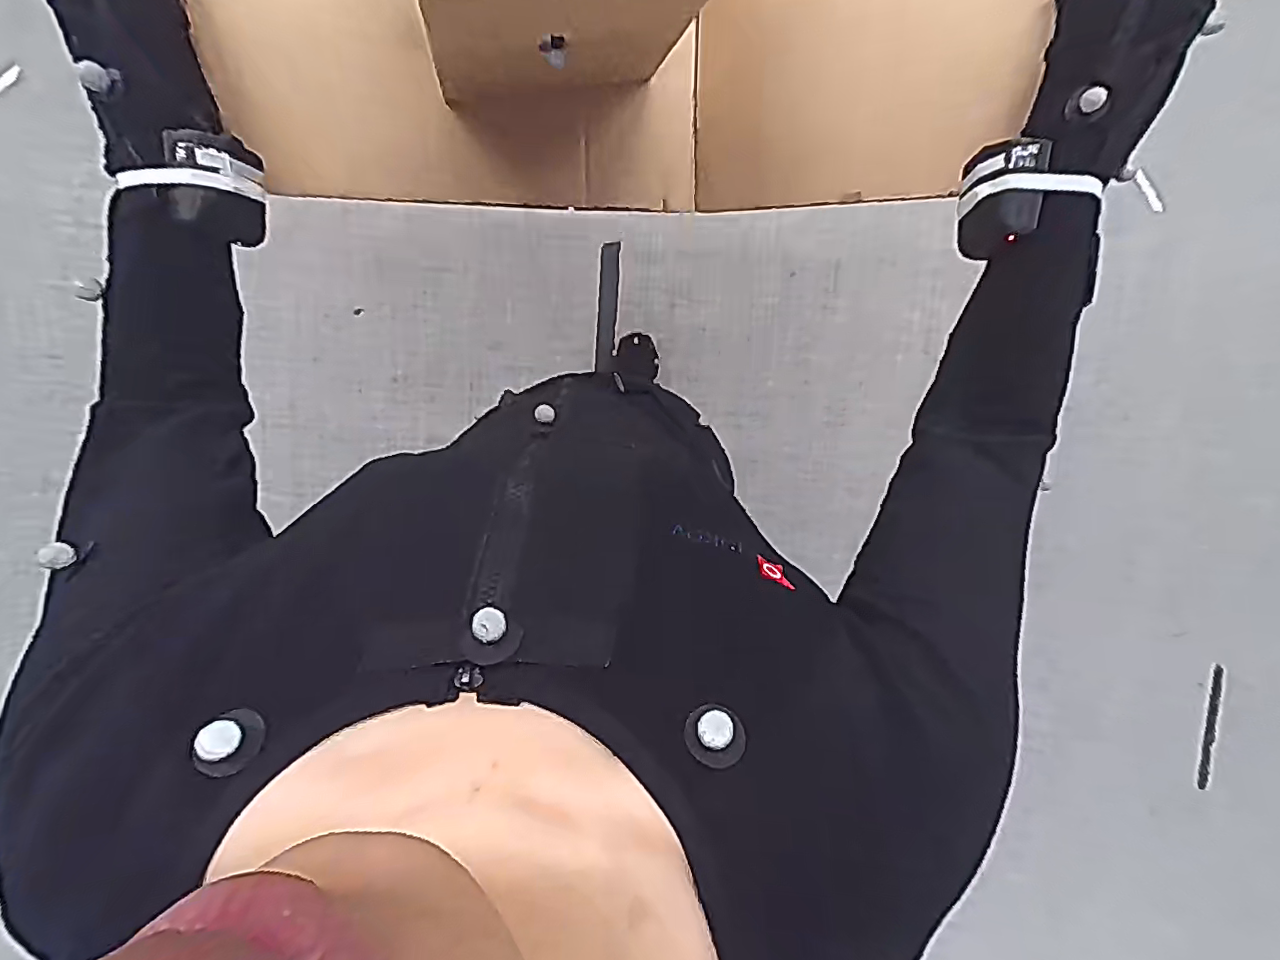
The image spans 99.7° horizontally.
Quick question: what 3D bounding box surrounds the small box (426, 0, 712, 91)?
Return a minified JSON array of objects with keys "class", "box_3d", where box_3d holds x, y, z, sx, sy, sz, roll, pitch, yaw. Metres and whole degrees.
[{"class":"small box","box_3d":[-0.061,-0.376,0.345,0.179,0.176,0.168,-13,111,-10]}]
